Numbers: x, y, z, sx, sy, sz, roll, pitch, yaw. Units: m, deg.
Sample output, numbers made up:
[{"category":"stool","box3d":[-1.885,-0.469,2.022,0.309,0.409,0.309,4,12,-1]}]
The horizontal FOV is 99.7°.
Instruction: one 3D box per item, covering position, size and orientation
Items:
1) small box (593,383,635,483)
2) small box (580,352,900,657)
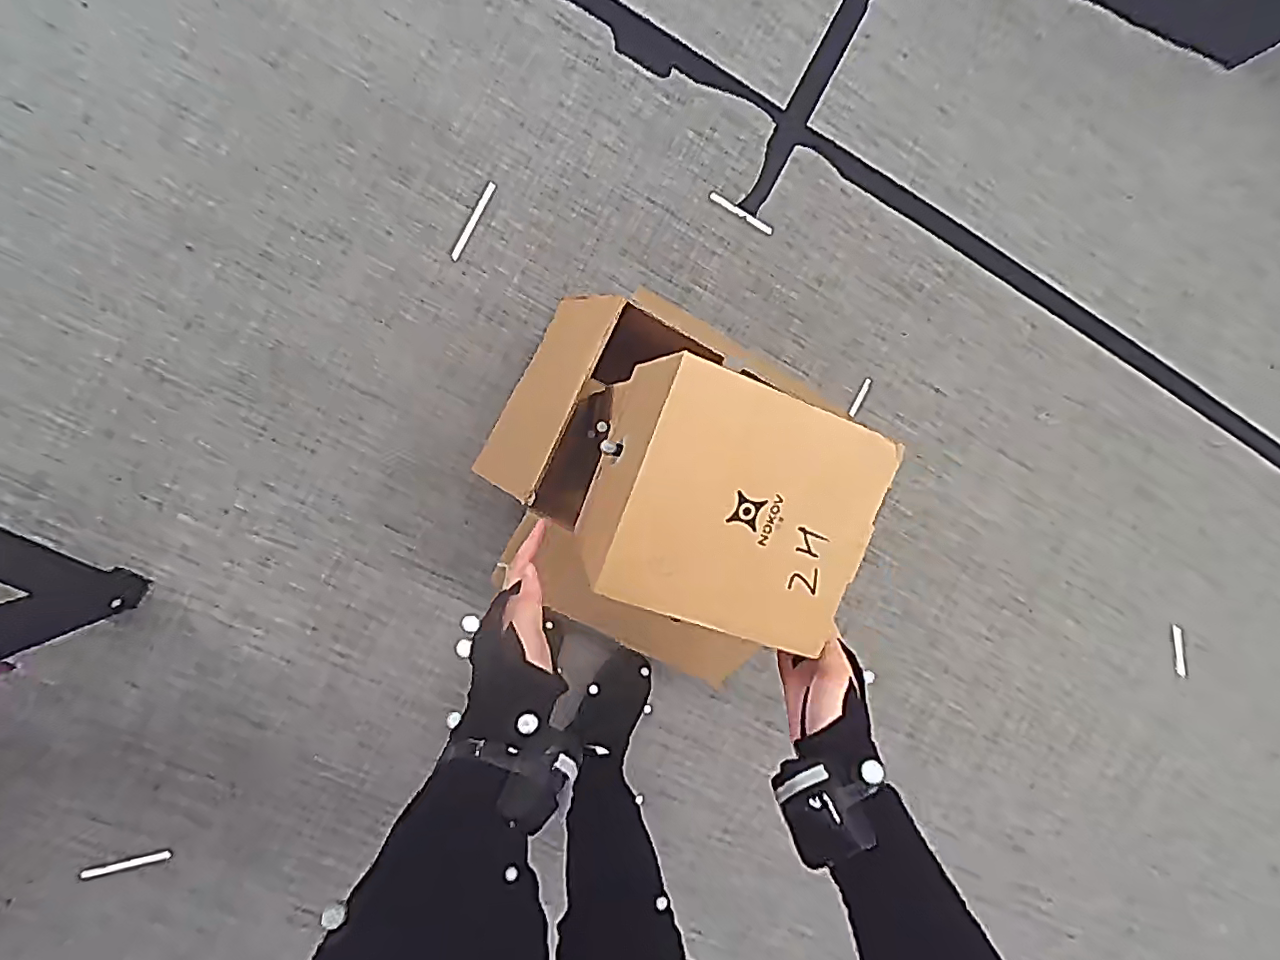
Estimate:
[{"category":"small box","box3d":[0.033,-0.040,0.766,0.179,0.176,0.168,6,96,-13]},{"category":"small box","box3d":[0.060,0.012,0.440,0.179,0.176,0.168,20,95,-13]}]
